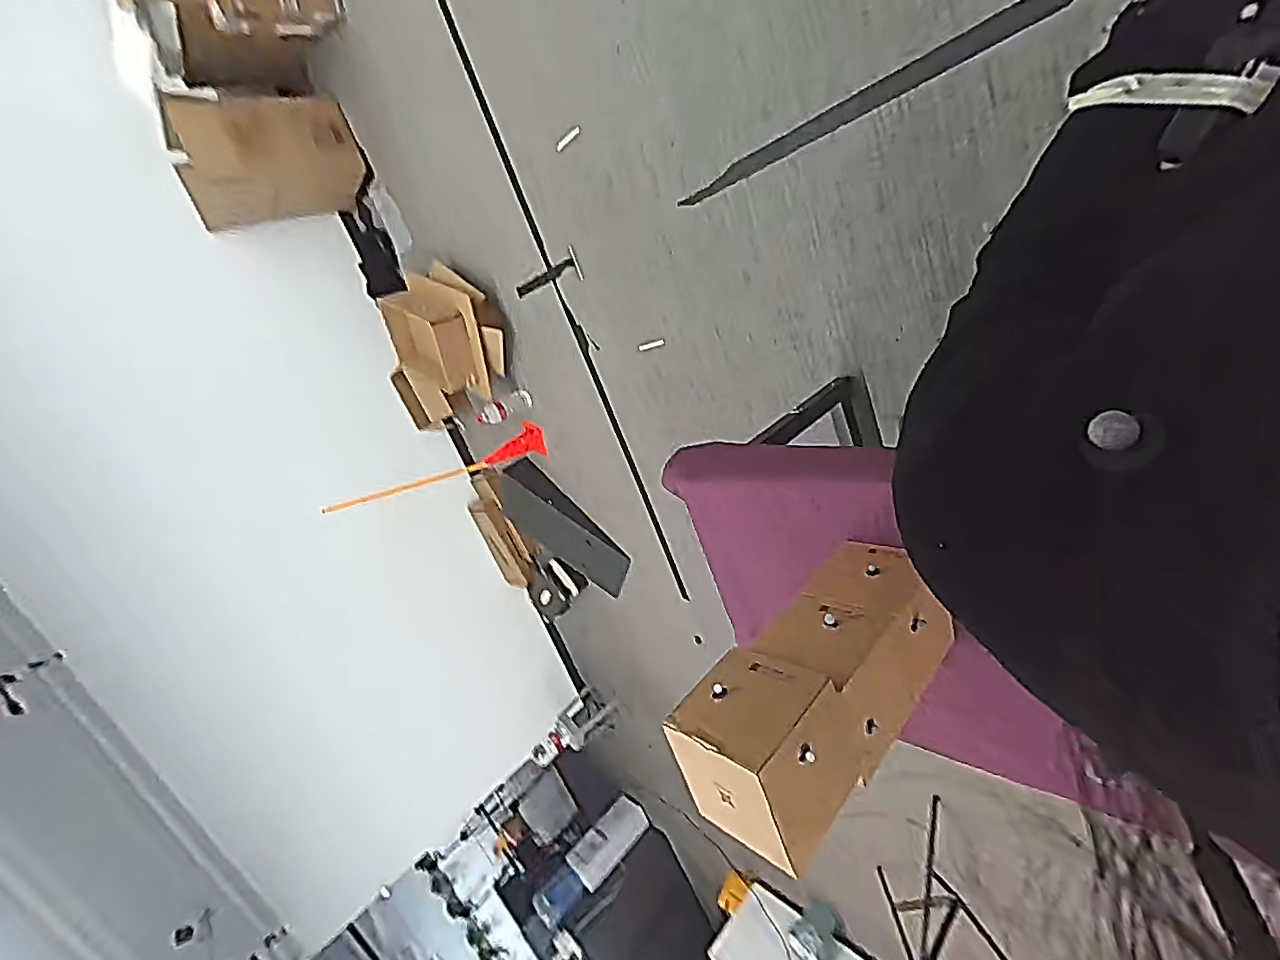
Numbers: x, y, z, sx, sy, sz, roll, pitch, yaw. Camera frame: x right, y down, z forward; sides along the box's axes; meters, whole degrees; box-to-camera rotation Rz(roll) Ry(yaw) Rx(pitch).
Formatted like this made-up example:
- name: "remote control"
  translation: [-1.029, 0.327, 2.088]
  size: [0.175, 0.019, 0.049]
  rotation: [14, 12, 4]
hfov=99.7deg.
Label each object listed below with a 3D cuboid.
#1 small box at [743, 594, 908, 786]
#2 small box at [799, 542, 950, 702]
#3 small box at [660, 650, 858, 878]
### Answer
- name: "small box"
  translation: [0.282, 0.304, 0.817]
  size: [0.168, 0.176, 0.179]
  rotation: [4, 120, 49]
- name: "small box"
  translation: [0.396, 0.225, 0.906]
  size: [0.168, 0.176, 0.179]
  rotation: [5, 122, 50]
- name: "small box"
  translation: [0.162, 0.359, 0.721]
  size: [0.168, 0.176, 0.179]
  rotation: [0, 118, 52]
